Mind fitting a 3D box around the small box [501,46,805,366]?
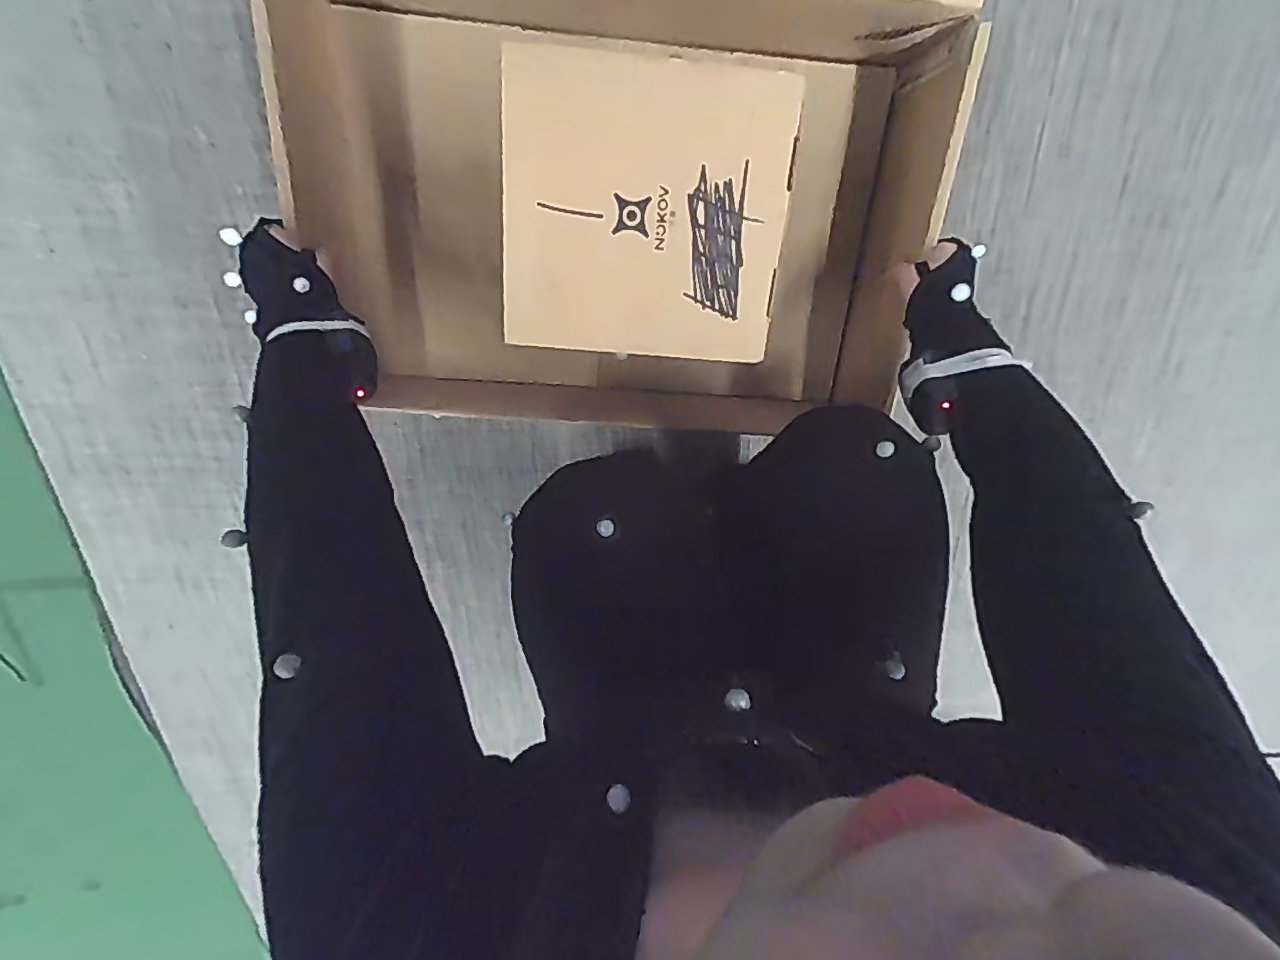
[{"bbox_3d":[0.001,-0.189,0.408,0.179,0.176,0.168,5,111,-2],"label":"small box"}]
